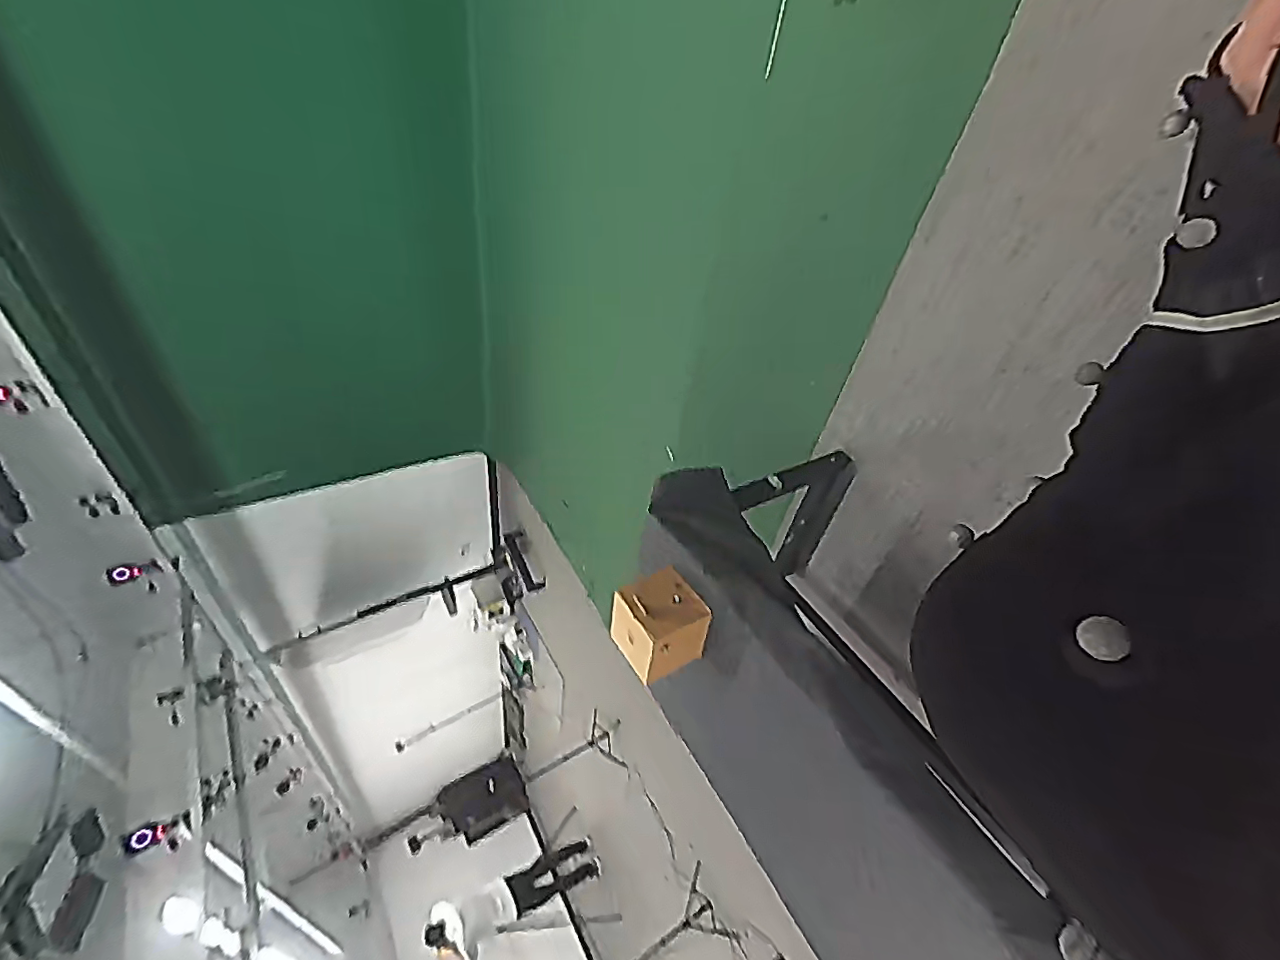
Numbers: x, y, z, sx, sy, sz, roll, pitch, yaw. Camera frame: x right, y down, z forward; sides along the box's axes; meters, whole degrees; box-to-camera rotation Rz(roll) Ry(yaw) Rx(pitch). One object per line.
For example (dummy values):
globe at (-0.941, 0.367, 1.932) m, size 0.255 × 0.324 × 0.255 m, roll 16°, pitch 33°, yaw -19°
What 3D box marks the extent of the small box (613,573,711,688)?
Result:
small box at (0.051, 0.358, 1.301) m, size 0.168 × 0.176 × 0.179 m, roll 45°, pitch 141°, yaw 40°
